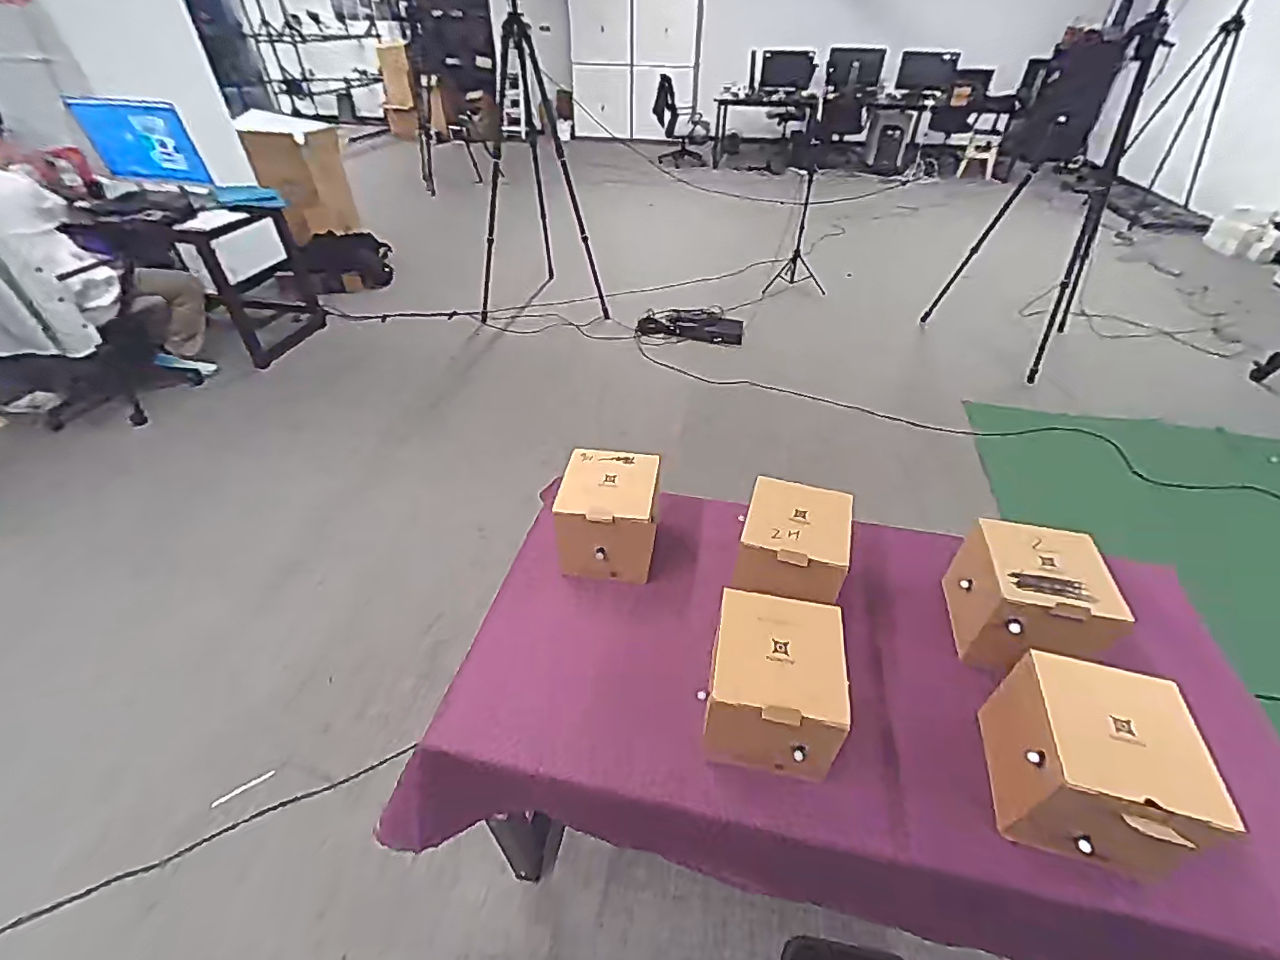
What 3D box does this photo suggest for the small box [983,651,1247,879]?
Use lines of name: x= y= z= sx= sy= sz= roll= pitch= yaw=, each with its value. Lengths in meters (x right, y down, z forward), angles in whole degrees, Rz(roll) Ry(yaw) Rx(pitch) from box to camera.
small box: x=0.558 y=0.351 z=0.673 sx=0.168 sy=0.176 sz=0.179 roll=11 pitch=42 yaw=13

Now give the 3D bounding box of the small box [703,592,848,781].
small box: x=0.182 y=0.287 z=0.752 sx=0.168 sy=0.176 sz=0.179 roll=8 pitch=40 yaw=9

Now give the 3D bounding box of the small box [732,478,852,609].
small box: x=0.259 y=0.126 z=0.937 sx=0.168 sy=0.176 sz=0.179 roll=12 pitch=42 yaw=15

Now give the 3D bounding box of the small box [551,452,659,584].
small box: x=-0.056 y=0.071 z=1.003 sx=0.168 sy=0.176 sz=0.179 roll=6 pitch=42 yaw=6
